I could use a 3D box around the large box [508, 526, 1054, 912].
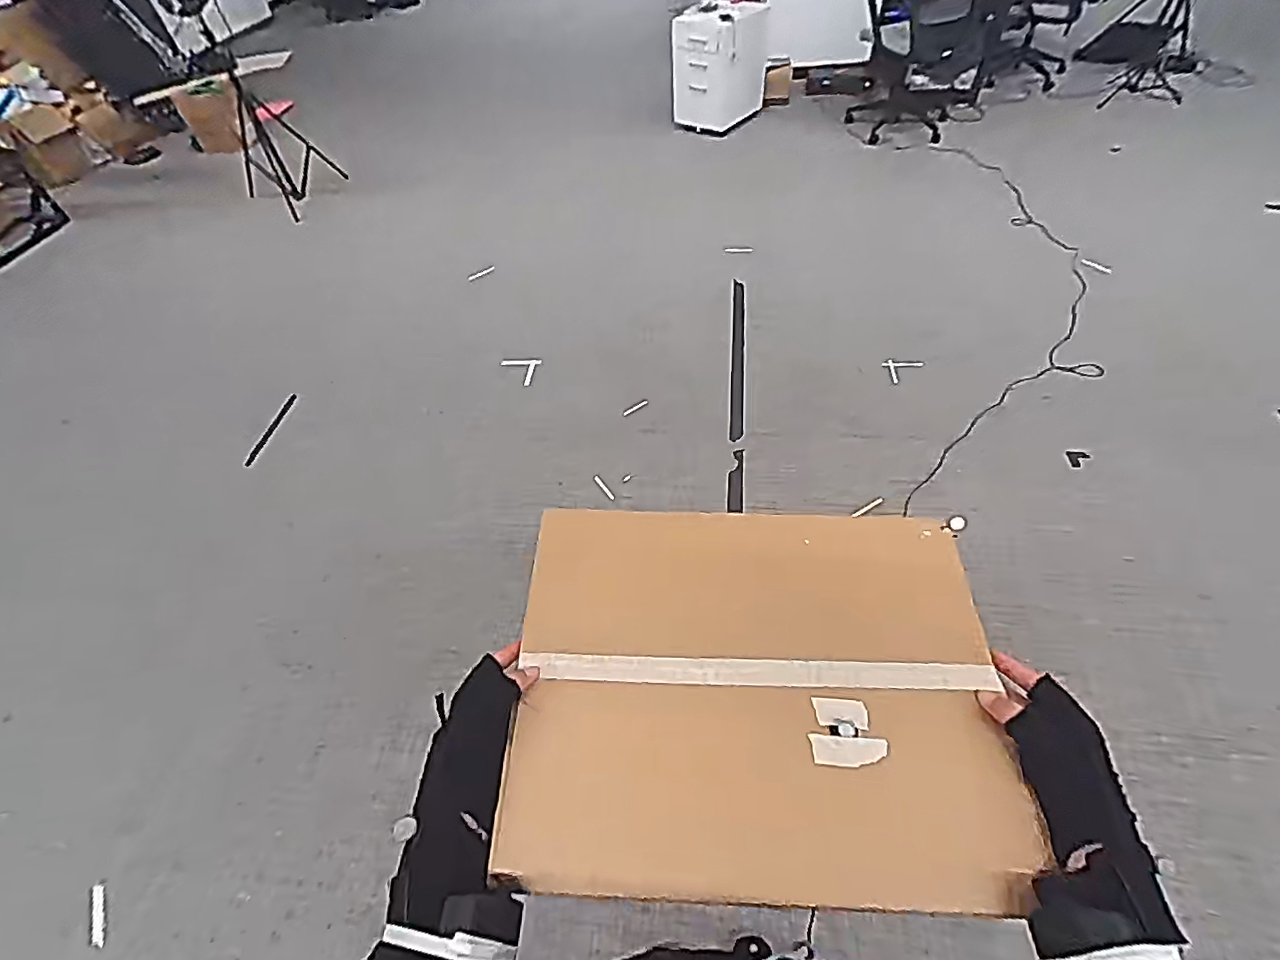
[{"bbox_3d":[0.104,0.260,0.594,0.408,0.320,0.320,1,57,2],"label":"large box"}]
